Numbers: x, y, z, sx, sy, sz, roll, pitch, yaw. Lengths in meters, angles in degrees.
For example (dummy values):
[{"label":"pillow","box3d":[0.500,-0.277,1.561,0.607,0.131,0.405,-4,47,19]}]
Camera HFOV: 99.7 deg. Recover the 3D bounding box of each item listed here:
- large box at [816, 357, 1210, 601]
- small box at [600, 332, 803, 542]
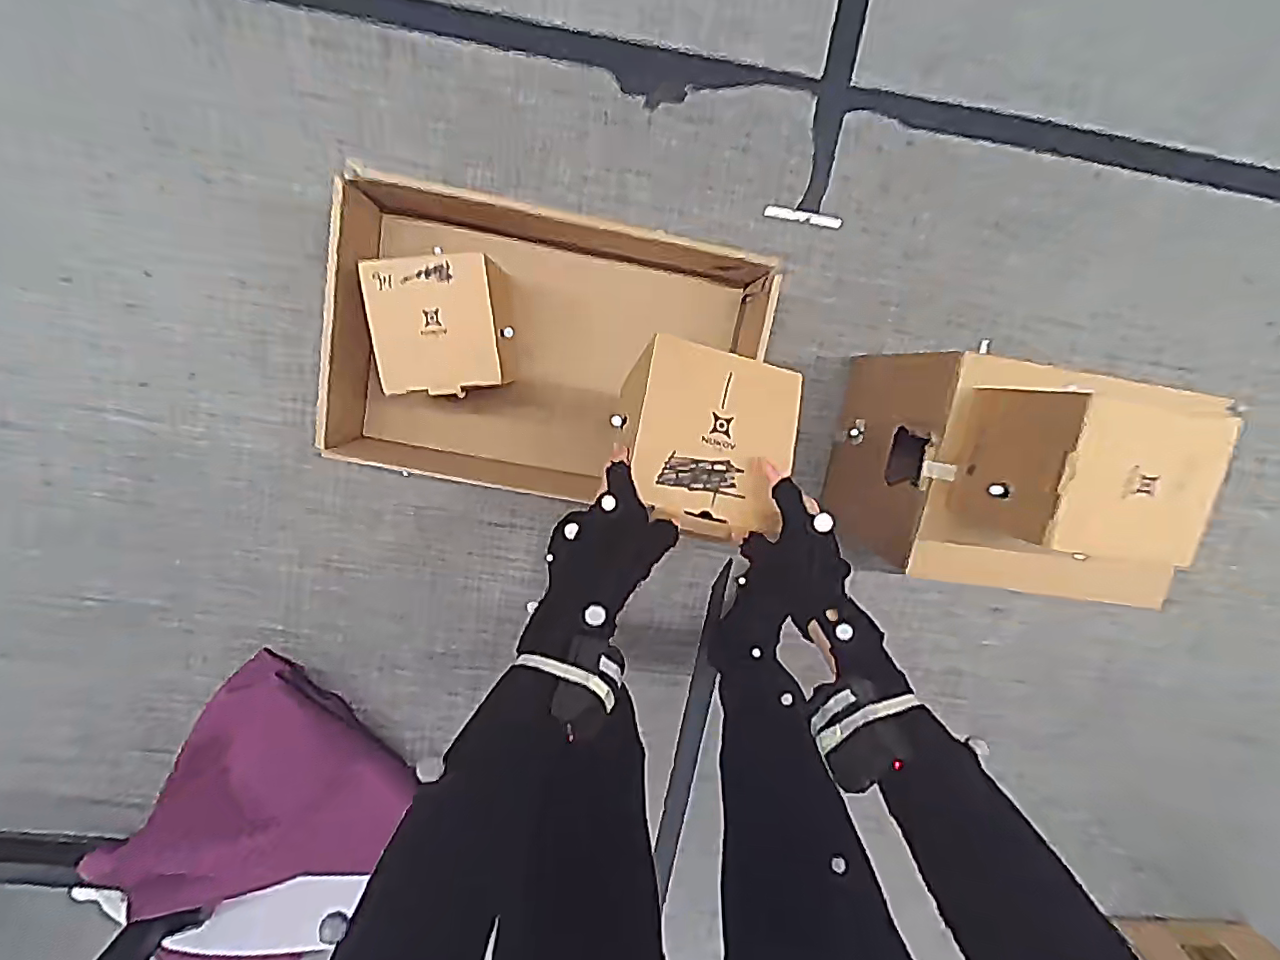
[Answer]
[{"label":"large box","box3d":[0.564,-0.018,0.901,0.408,0.320,0.320,8,101,-7]},{"label":"small box","box3d":[0.058,-0.032,0.607,0.168,0.176,0.179,14,77,-11]}]
